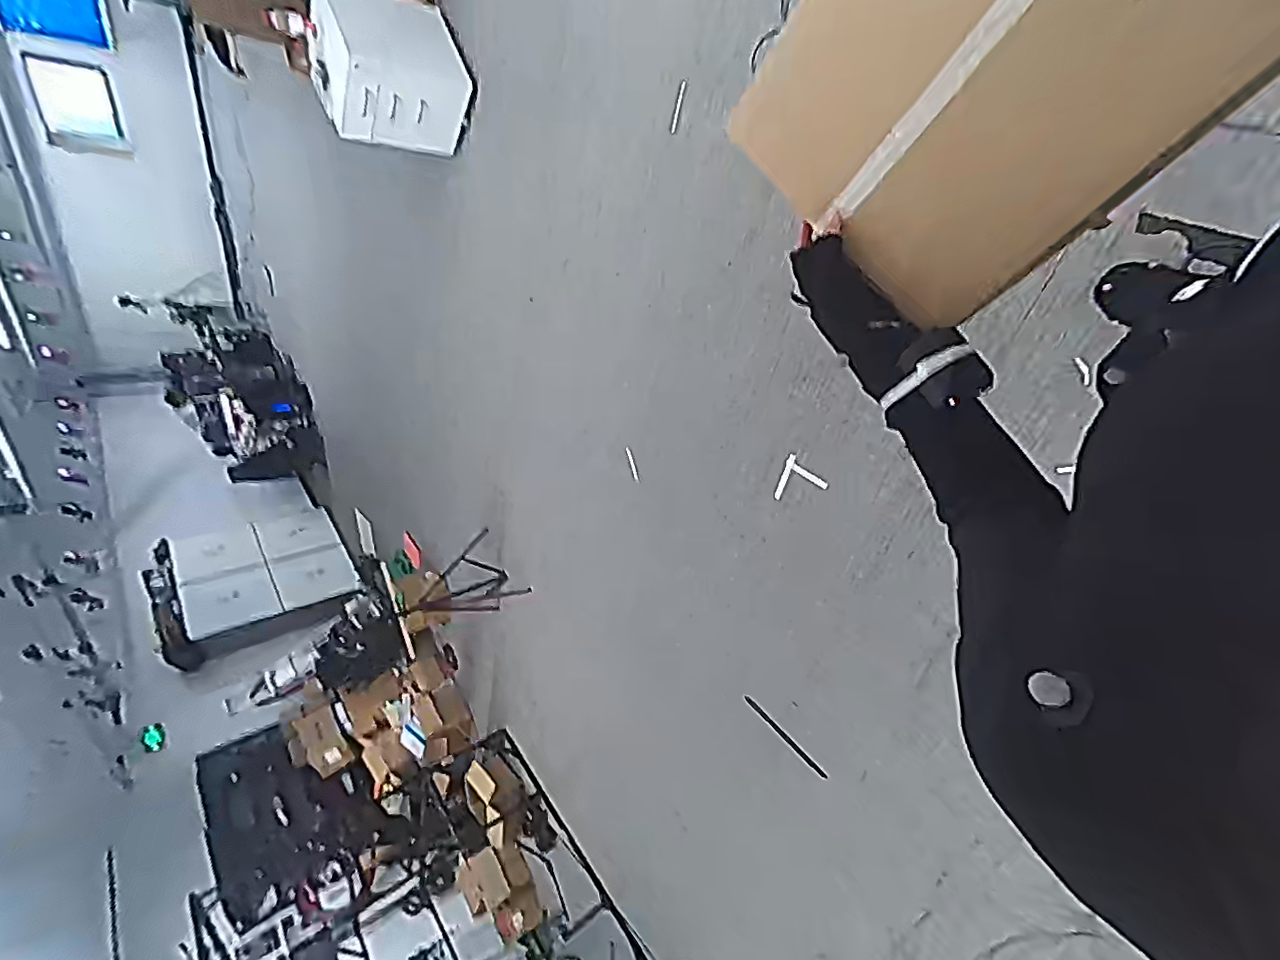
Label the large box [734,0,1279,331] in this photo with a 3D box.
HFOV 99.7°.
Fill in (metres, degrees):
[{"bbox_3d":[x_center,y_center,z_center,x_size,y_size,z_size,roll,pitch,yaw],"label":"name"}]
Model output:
[{"bbox_3d":[0.376,-0.415,0.522,0.320,0.320,0.408,51,136,9],"label":"large box"}]
